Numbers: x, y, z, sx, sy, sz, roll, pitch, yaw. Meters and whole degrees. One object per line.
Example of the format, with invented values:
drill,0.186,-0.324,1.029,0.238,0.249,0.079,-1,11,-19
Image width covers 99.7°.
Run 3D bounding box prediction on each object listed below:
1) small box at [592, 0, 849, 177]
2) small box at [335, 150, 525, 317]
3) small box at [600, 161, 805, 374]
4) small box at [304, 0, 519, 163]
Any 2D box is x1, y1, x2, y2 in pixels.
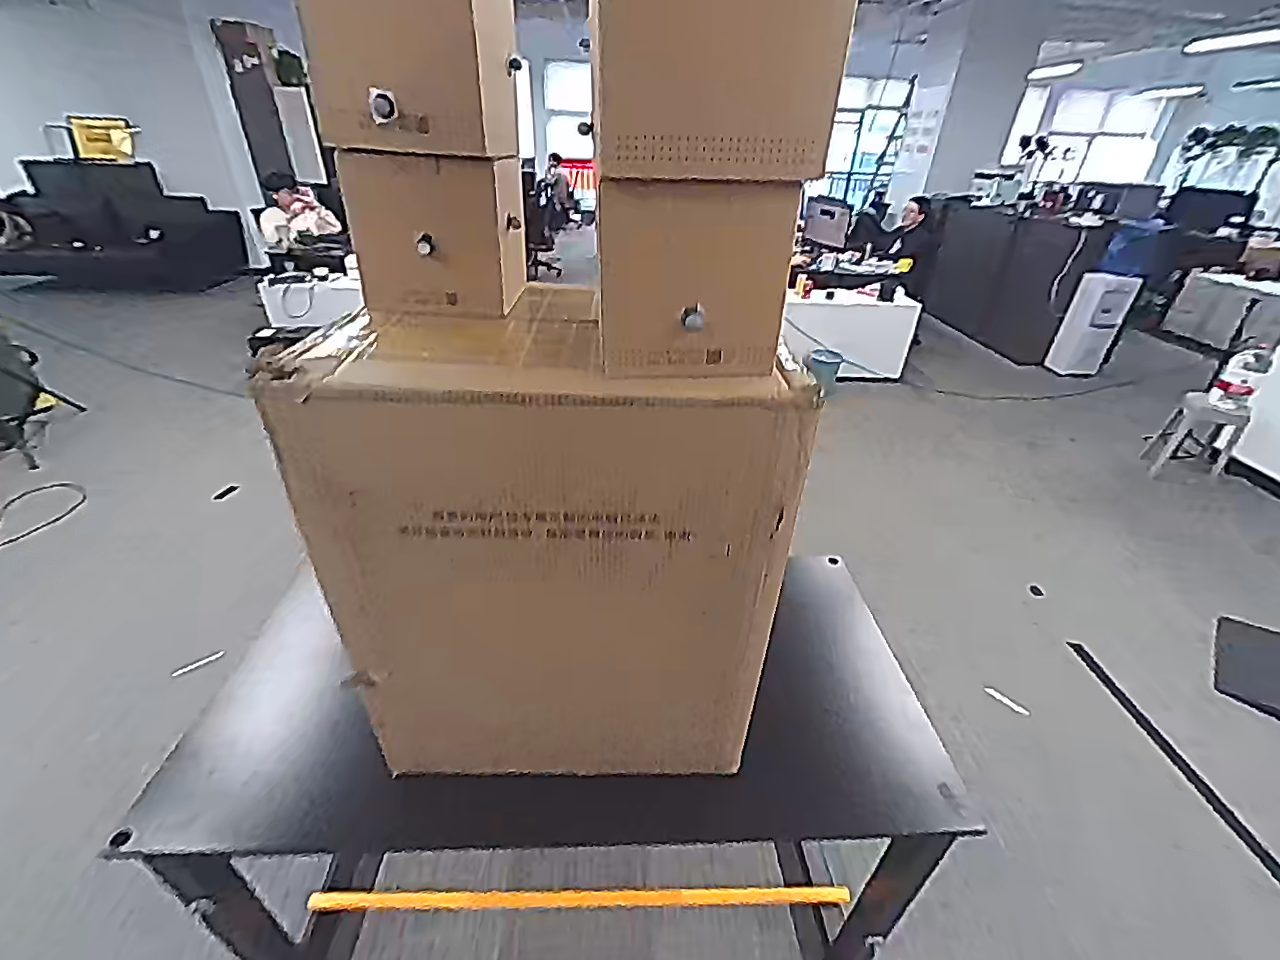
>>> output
small box,0.052,-0.340,0.429,0.179,0.176,0.168,-2,33,-6
small box,-0.238,-0.307,0.668,0.168,0.176,0.179,2,32,-3
small box,0.043,-0.214,0.537,0.168,0.176,0.179,-2,33,-4
small box,-0.226,-0.438,0.569,0.168,0.176,0.179,2,32,-1
